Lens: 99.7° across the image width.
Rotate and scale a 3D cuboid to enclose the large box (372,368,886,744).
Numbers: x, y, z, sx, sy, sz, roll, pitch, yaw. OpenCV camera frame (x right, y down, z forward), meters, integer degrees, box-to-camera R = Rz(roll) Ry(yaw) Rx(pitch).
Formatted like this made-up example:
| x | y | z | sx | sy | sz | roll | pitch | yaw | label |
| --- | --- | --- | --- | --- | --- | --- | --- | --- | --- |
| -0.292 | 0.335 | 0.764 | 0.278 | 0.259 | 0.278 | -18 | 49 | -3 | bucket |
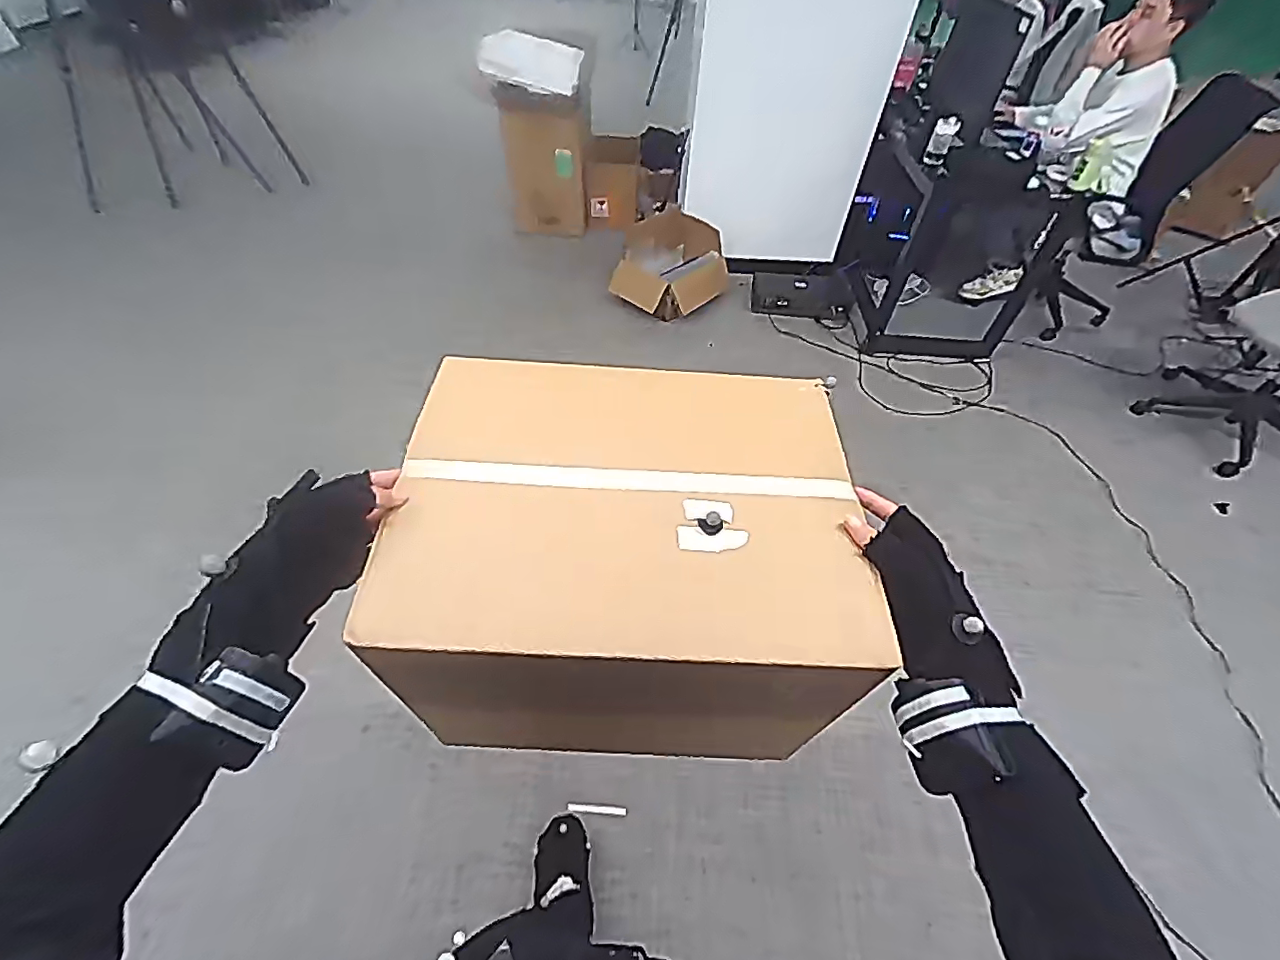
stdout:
| x | y | z | sx | sy | sz | roll | pitch | yaw | label |
| --- | --- | --- | --- | --- | --- | --- | --- | --- | --- |
| -0.014 | 0.099 | 0.617 | 0.408 | 0.320 | 0.320 | 3 | 52 | -3 | large box |
